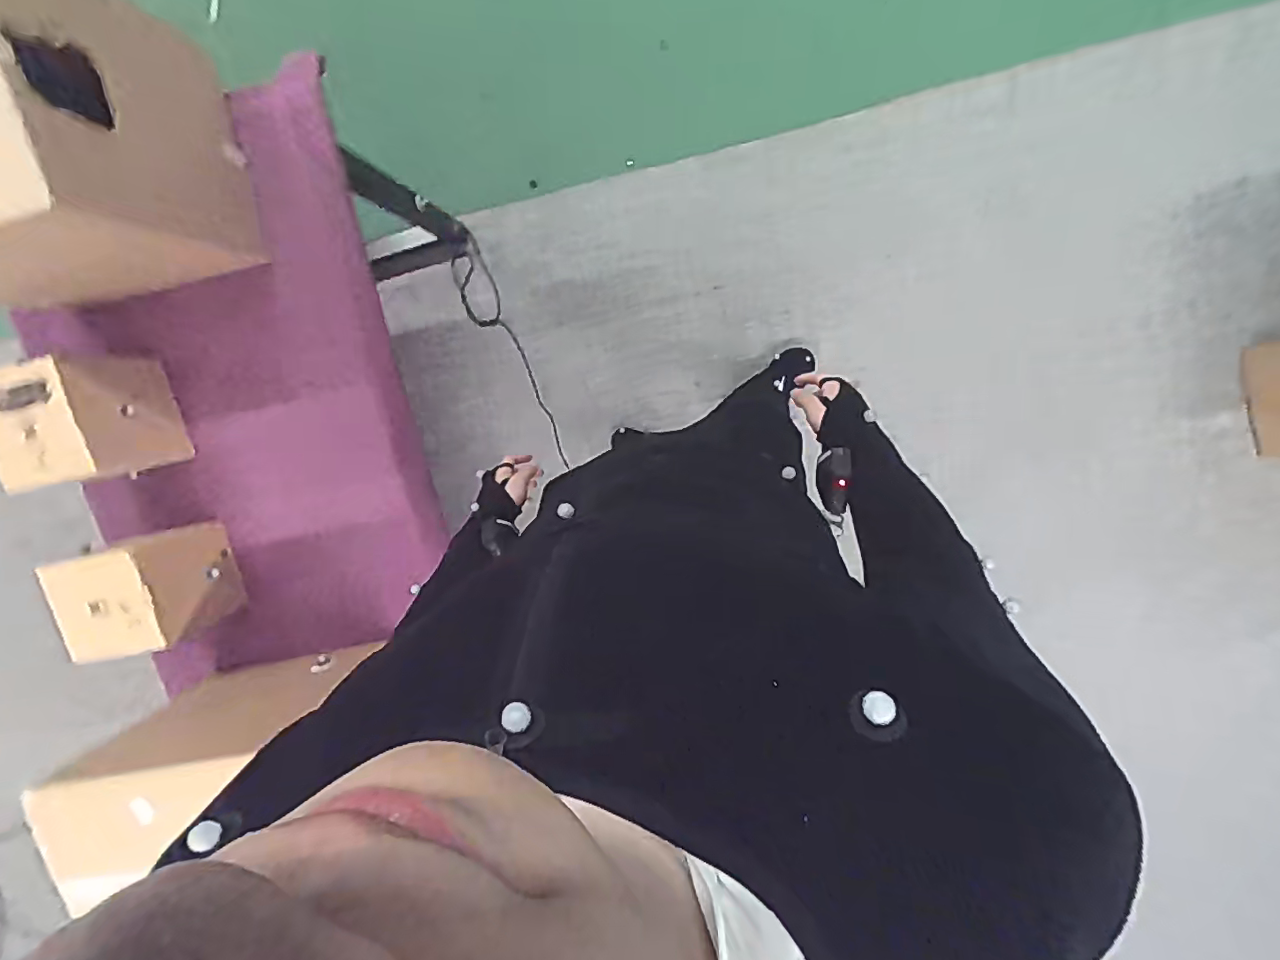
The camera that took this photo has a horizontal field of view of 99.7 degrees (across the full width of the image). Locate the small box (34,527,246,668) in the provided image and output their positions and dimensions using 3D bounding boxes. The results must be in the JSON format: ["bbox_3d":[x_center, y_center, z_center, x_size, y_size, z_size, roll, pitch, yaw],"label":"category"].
[{"bbox_3d":[-0.827,0.191,0.913,0.179,0.176,0.168,-11,101,7],"label":"small box"}]
